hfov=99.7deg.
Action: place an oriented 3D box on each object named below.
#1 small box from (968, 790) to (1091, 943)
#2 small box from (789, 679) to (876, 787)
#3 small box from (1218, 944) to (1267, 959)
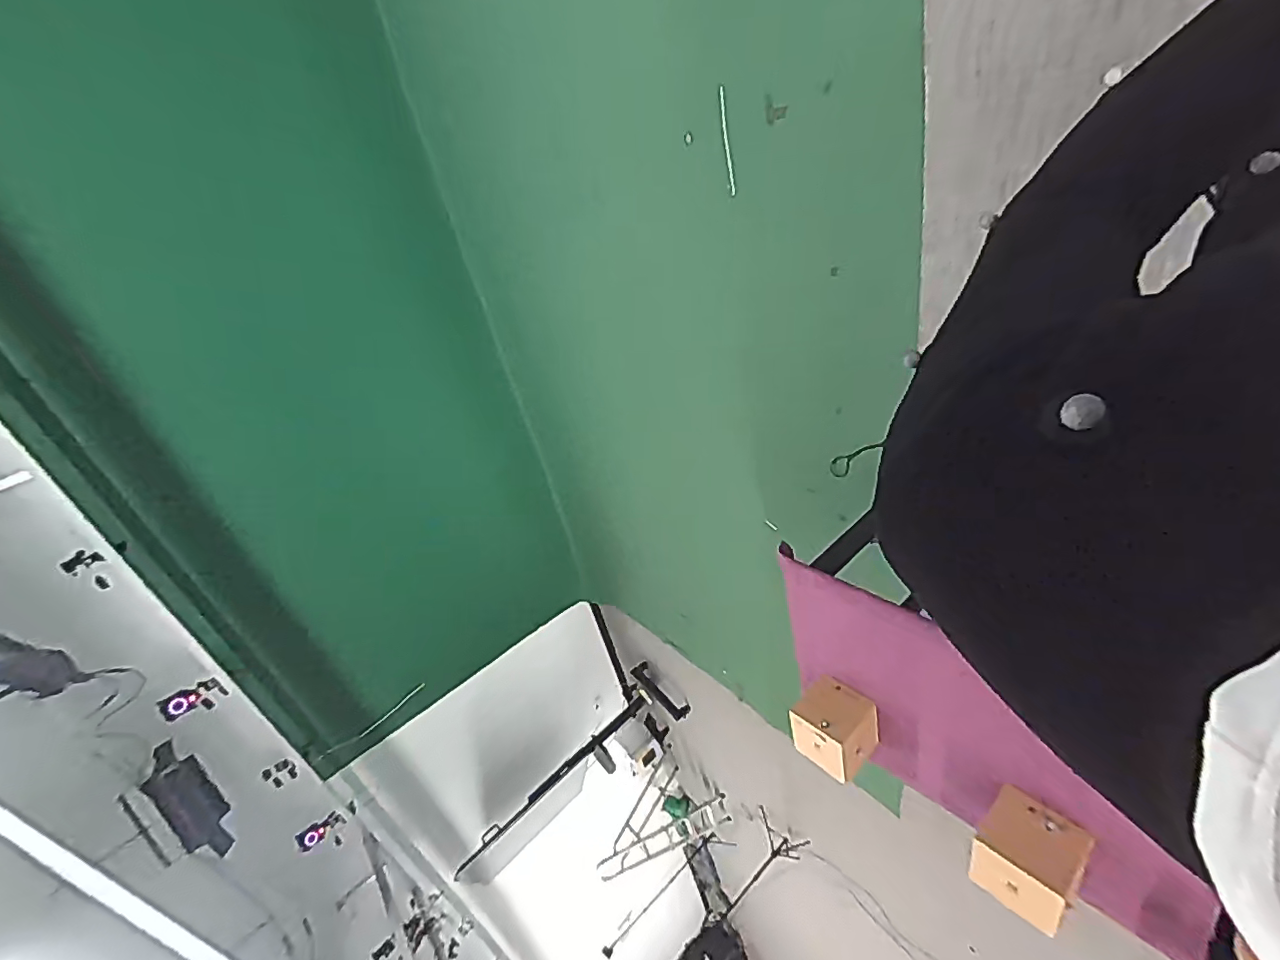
[{"bbox_3d":[0.842,0.829,1.173,0.168,0.176,0.179,22,134,47],"label":"small box"},{"bbox_3d":[0.545,0.702,1.518,0.168,0.176,0.179,20,134,48],"label":"small box"},{"bbox_3d":[1.074,0.952,0.915,0.168,0.176,0.179,25,136,47],"label":"small box"}]
